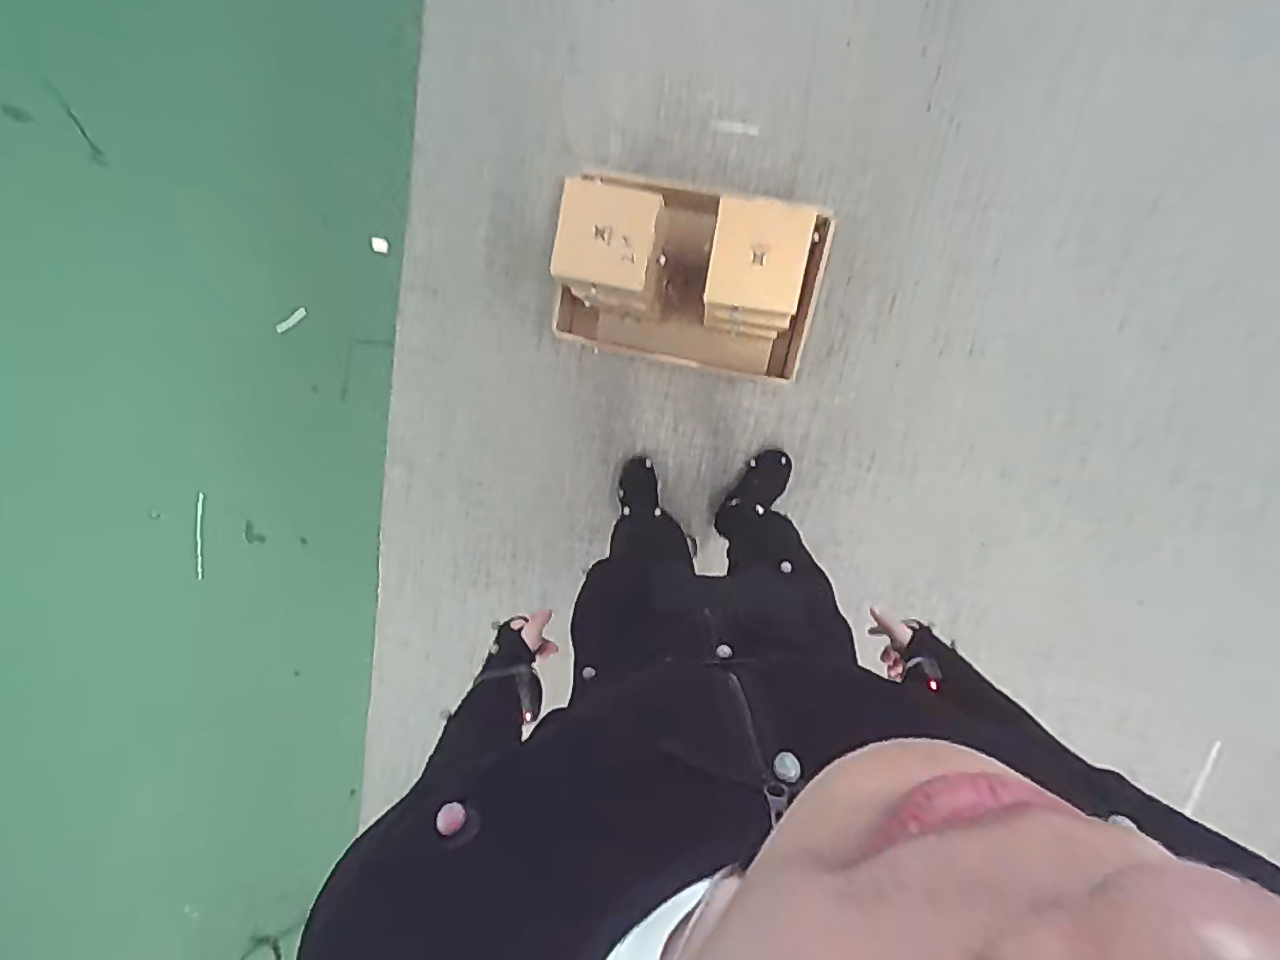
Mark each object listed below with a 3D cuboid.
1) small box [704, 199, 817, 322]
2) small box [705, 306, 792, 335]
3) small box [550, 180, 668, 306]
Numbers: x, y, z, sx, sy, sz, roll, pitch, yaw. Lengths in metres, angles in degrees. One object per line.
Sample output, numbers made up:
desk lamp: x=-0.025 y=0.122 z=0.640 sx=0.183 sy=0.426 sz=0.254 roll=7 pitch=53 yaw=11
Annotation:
small box: x=0.218 y=-0.397 z=1.006 sx=0.168 sy=0.176 sz=0.179 roll=10 pitch=102 yaw=7
small box: x=0.244 y=-0.412 z=1.166 sx=0.179 sy=0.176 sz=0.168 roll=11 pitch=103 yaw=6
small box: x=-0.052 y=-0.440 z=1.031 sx=0.179 sy=0.176 sz=0.168 roll=14 pitch=101 yaw=4
